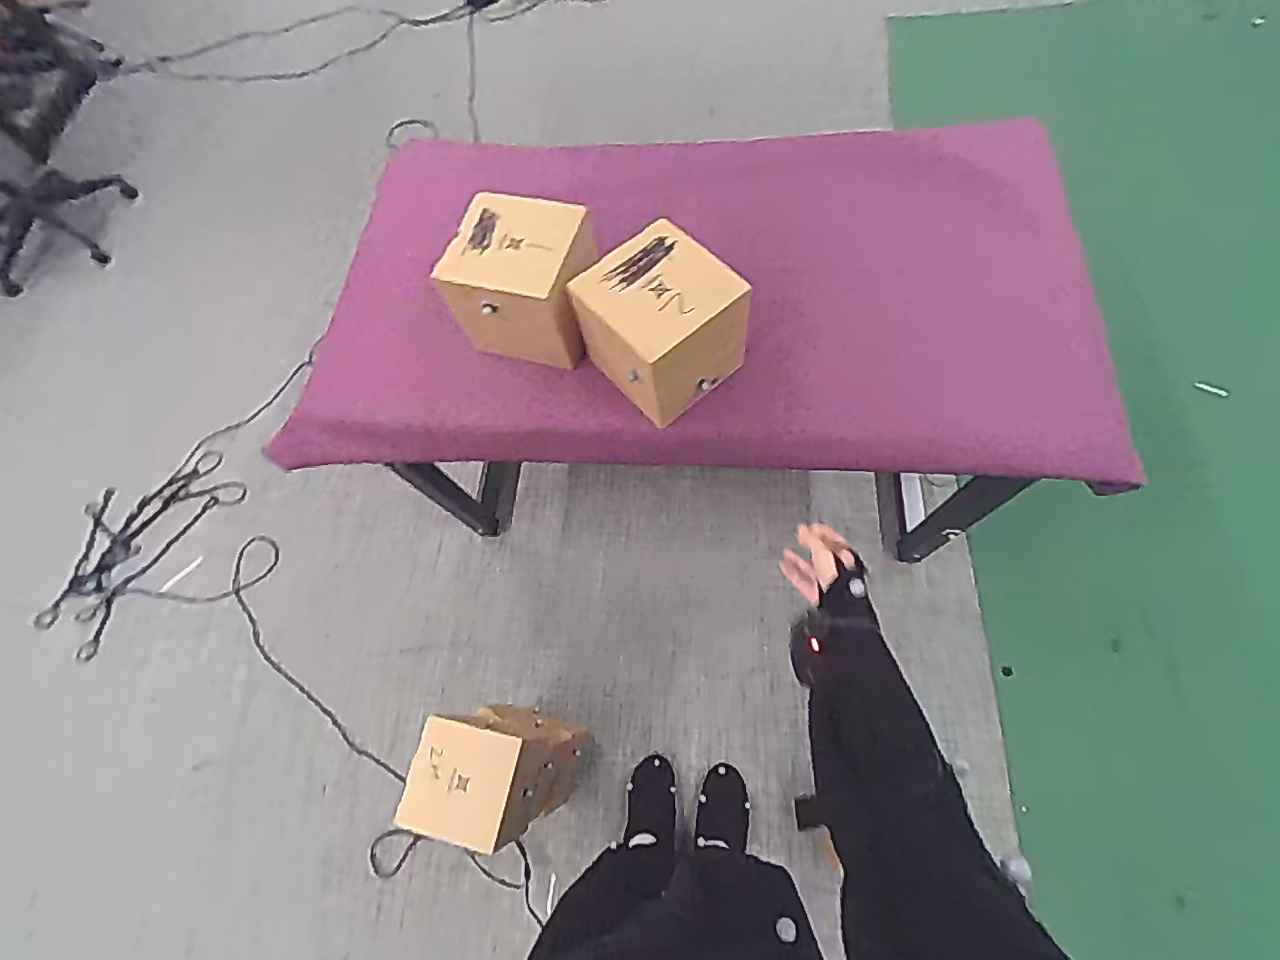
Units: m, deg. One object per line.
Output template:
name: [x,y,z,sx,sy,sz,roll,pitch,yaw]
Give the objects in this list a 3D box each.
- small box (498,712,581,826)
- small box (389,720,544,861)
small box: [-0.247,0.644,1.229,0.168,0.176,0.179,16,71,14]
small box: [-0.283,0.518,0.930,0.179,0.176,0.168,9,67,12]
